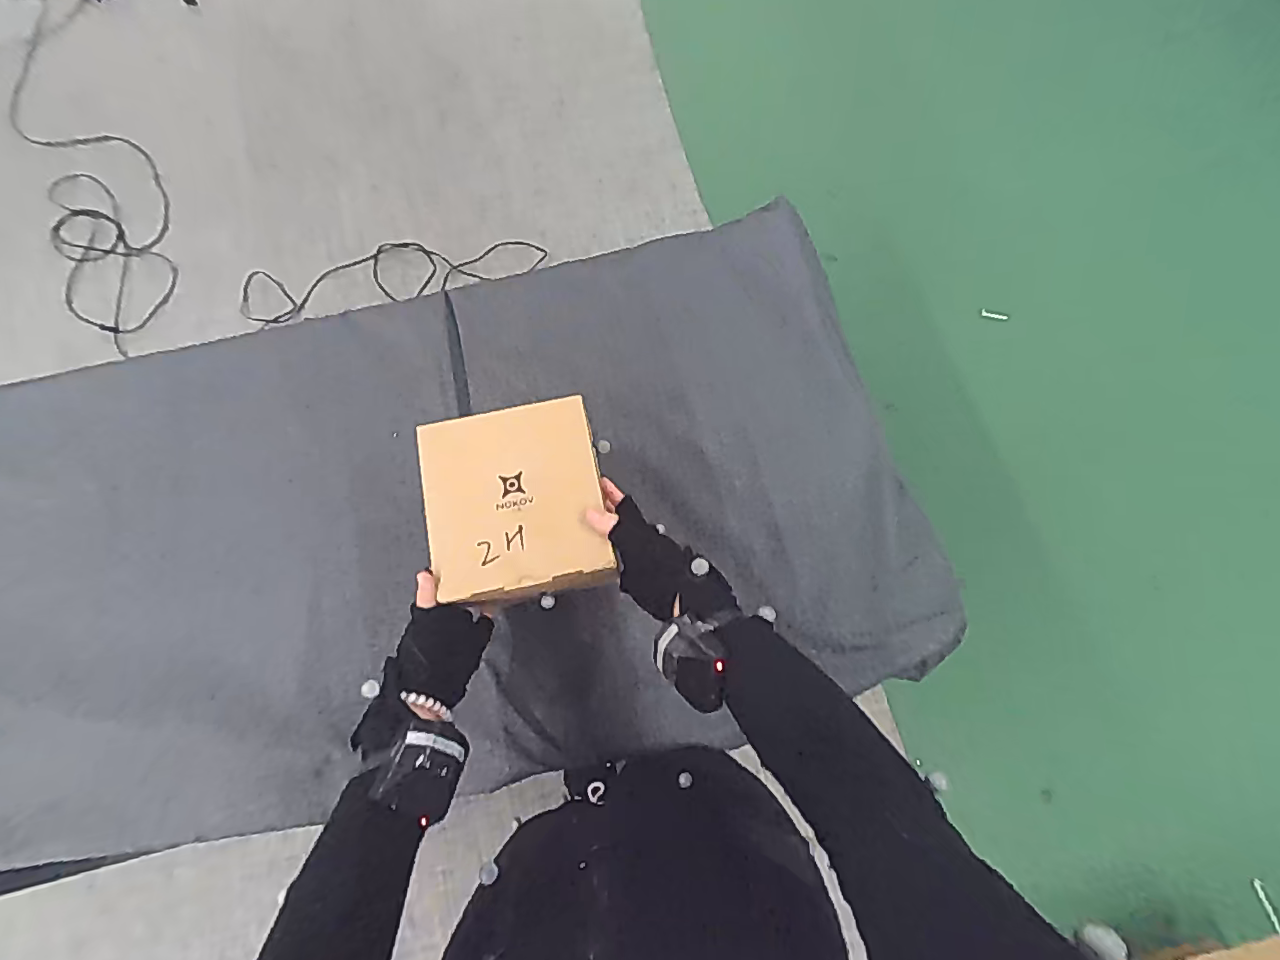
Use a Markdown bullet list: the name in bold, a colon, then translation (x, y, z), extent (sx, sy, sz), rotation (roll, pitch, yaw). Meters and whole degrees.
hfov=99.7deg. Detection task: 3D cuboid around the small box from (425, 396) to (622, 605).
- **small box**: translation (-0.115, 0.032, 0.588), extent (0.168, 0.176, 0.179), rotation (-12, 76, -4)
